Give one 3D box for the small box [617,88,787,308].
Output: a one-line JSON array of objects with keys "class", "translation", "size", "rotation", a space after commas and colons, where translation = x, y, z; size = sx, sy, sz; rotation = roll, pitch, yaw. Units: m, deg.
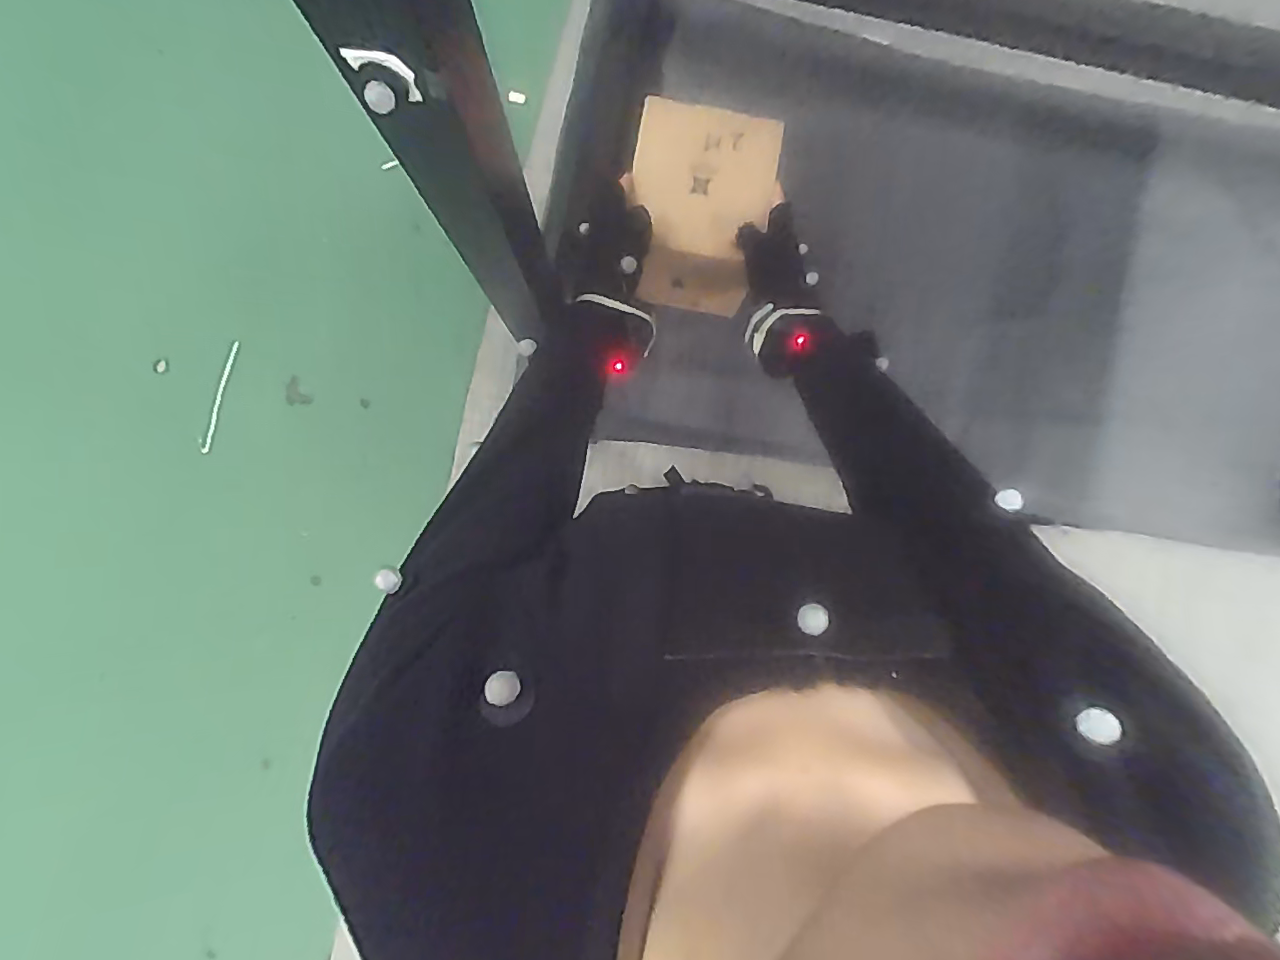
[{"class": "small box", "translation": [0.069, -0.338, 0.684], "size": [0.168, 0.176, 0.179], "rotation": [11, 87, -1]}]
